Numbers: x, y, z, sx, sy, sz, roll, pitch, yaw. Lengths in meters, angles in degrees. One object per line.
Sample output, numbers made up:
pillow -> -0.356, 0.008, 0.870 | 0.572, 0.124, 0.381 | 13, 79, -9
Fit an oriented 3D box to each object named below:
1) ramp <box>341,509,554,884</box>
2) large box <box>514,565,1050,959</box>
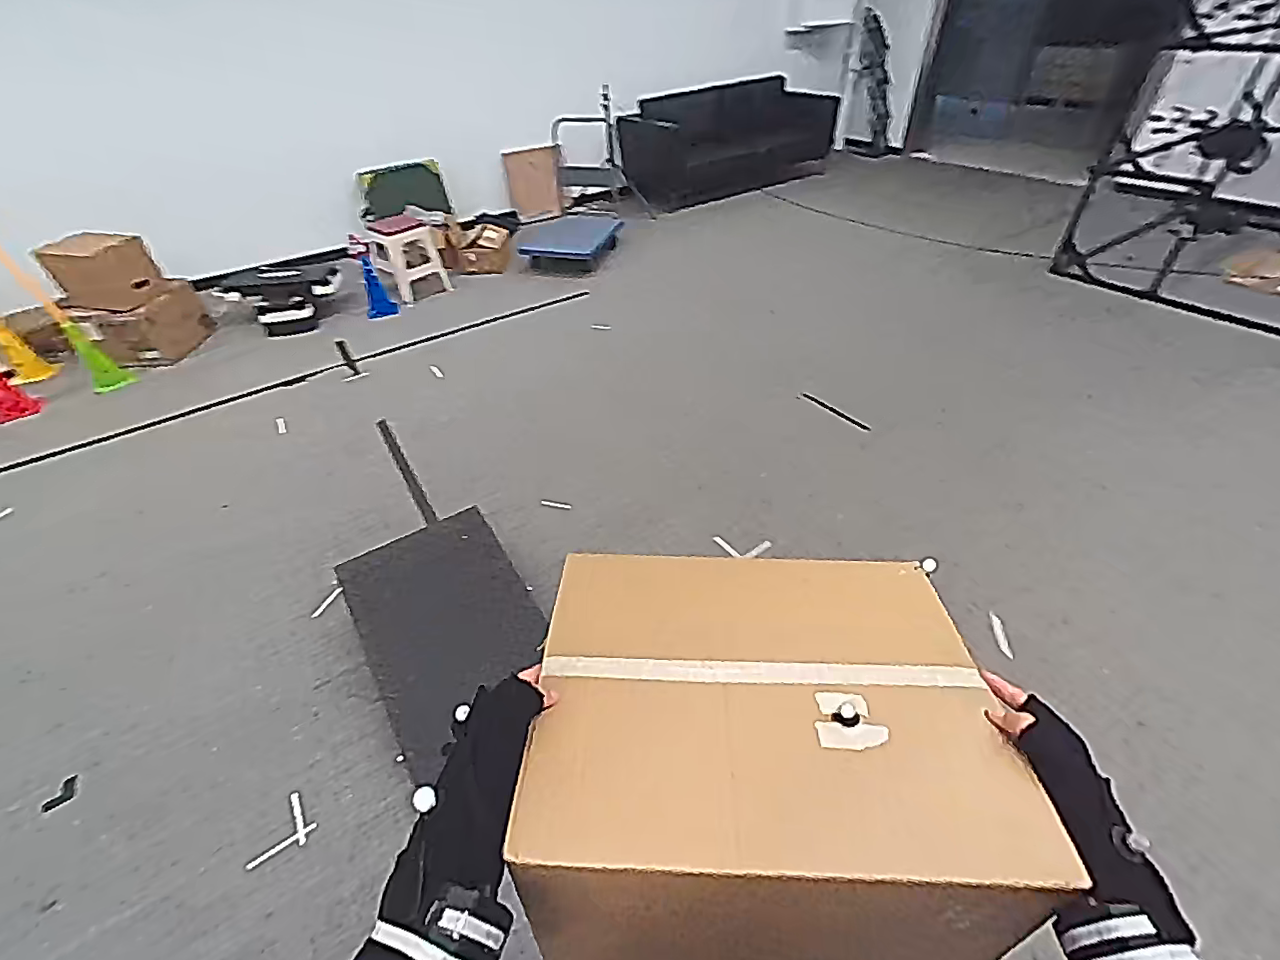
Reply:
ramp -> -0.488, 0.524, 1.599 | 0.509, 0.206, 0.991 | -27, 47, -26
large box -> 0.105, 0.312, 0.600 | 0.408, 0.320, 0.320 | 1, 35, 2
